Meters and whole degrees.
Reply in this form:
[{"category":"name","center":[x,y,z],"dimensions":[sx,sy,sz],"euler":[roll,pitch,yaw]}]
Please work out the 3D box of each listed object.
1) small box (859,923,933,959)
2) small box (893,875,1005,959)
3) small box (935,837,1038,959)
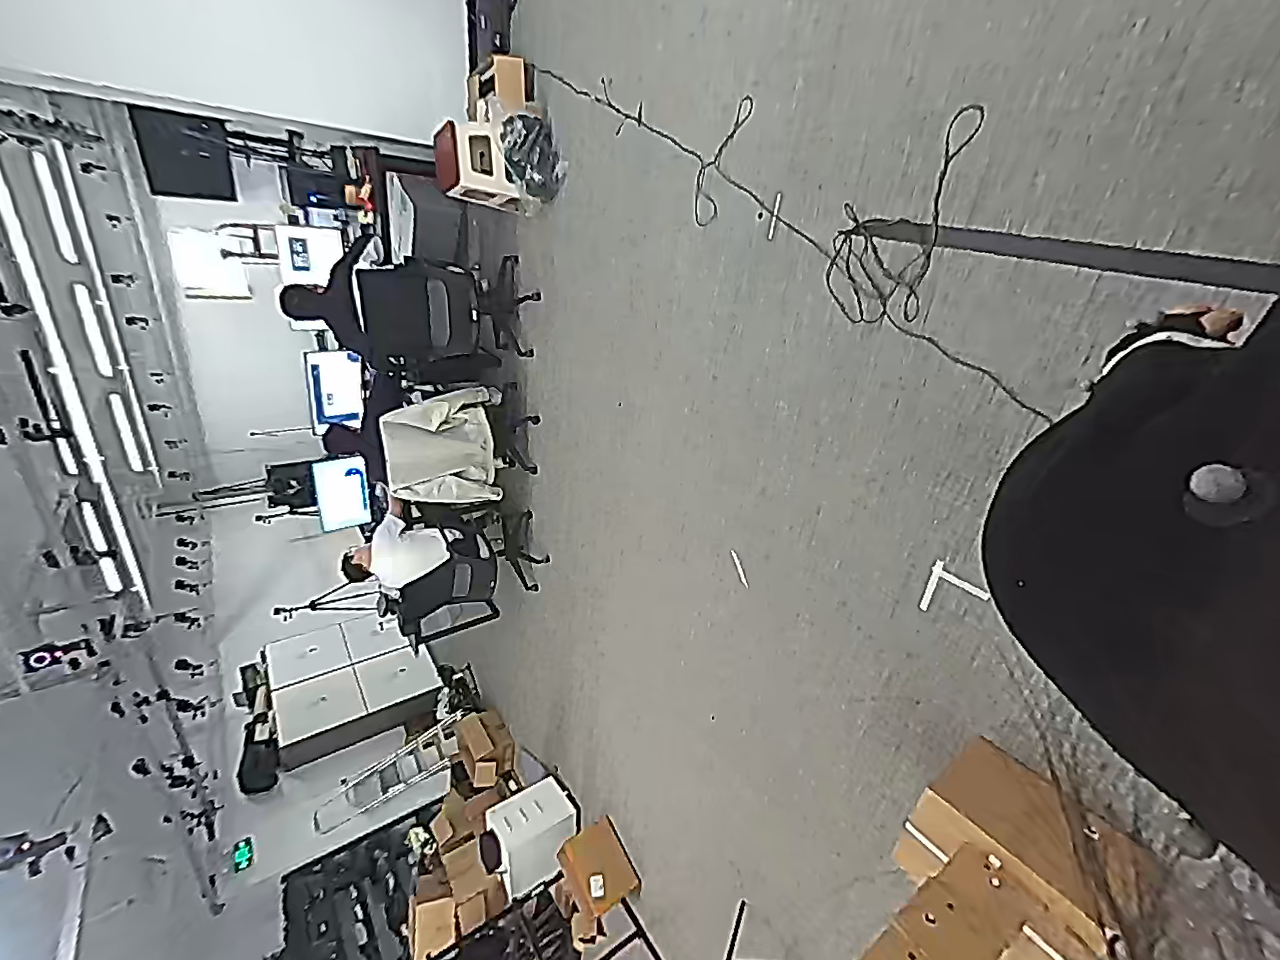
[{"category":"small box","center":[0.518,1.045,1.070],"dimensions":[0.168,0.176,0.179],"euler":[27,121,50]},{"category":"small box","center":[0.649,1.011,1.164],"dimensions":[0.168,0.176,0.179],"euler":[32,126,47]},{"category":"small box","center":[0.781,0.988,1.255],"dimensions":[0.168,0.176,0.179],"euler":[32,125,46]}]
